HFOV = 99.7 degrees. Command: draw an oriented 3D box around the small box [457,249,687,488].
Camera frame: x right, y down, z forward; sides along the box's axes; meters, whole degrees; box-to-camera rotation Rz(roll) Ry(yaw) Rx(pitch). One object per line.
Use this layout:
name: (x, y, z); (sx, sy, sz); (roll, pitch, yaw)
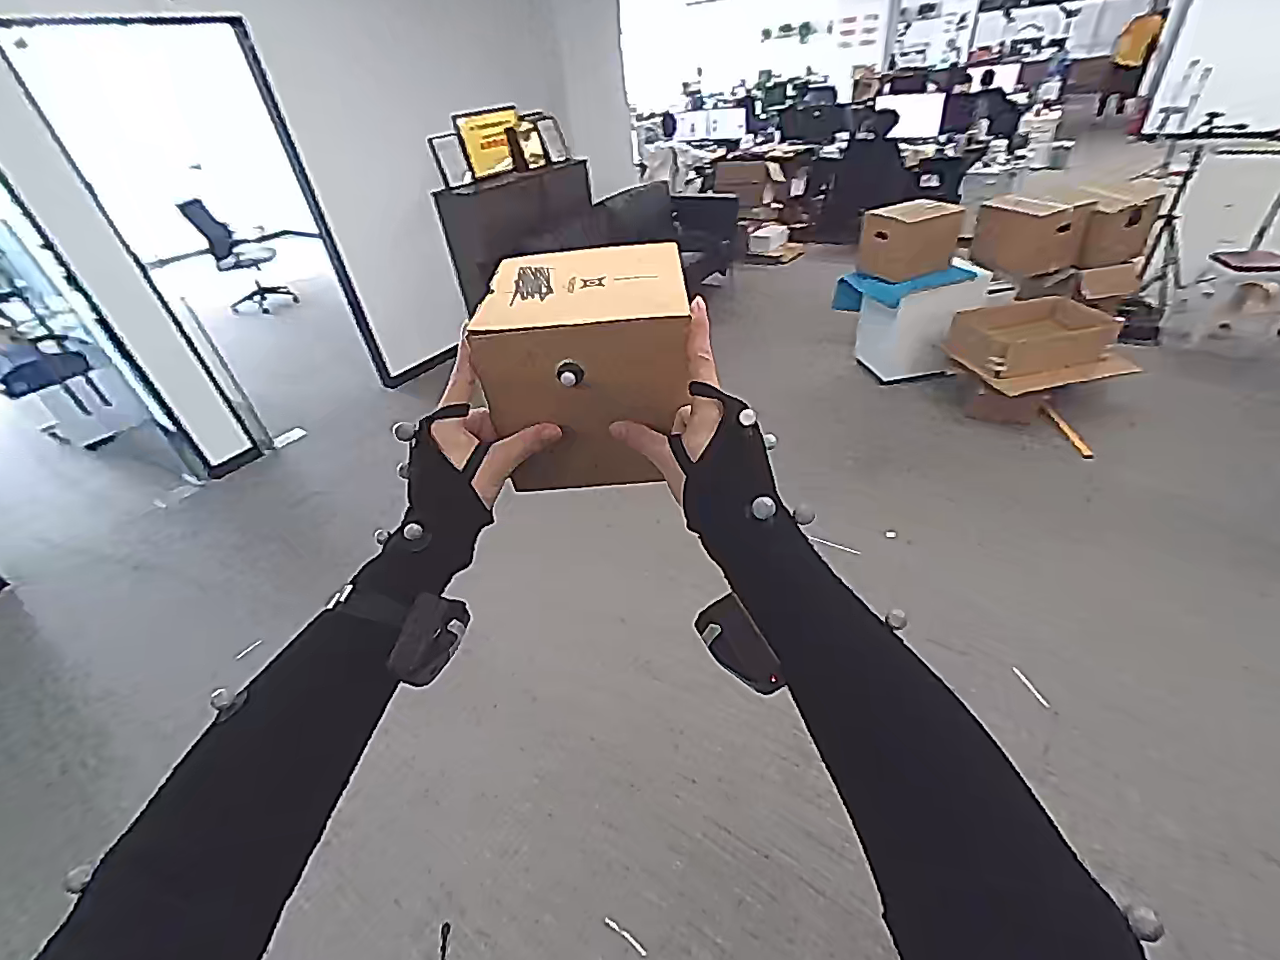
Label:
small box: (-0.051, -0.106, 0.526); (0.179, 0.176, 0.168); (-5, 40, 2)
